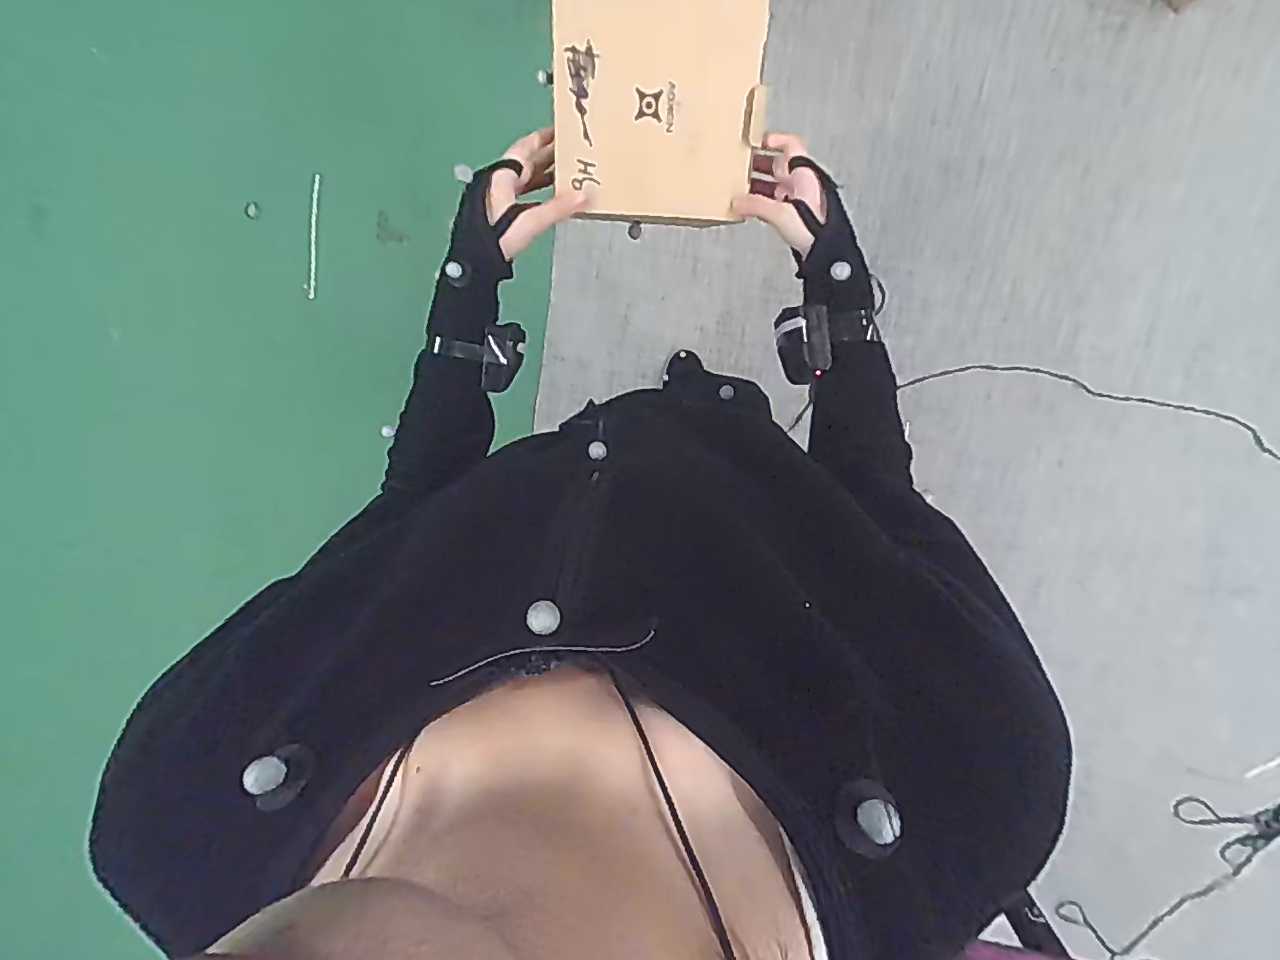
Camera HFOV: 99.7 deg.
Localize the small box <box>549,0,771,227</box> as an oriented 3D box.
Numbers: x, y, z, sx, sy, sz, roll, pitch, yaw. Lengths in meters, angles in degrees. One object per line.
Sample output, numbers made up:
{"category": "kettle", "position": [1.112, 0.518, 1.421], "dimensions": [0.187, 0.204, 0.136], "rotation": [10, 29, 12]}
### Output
{"category": "small box", "position": [0.003, -0.341, 0.522], "dimensions": [0.179, 0.176, 0.168], "rotation": [-1, 113, -9]}
